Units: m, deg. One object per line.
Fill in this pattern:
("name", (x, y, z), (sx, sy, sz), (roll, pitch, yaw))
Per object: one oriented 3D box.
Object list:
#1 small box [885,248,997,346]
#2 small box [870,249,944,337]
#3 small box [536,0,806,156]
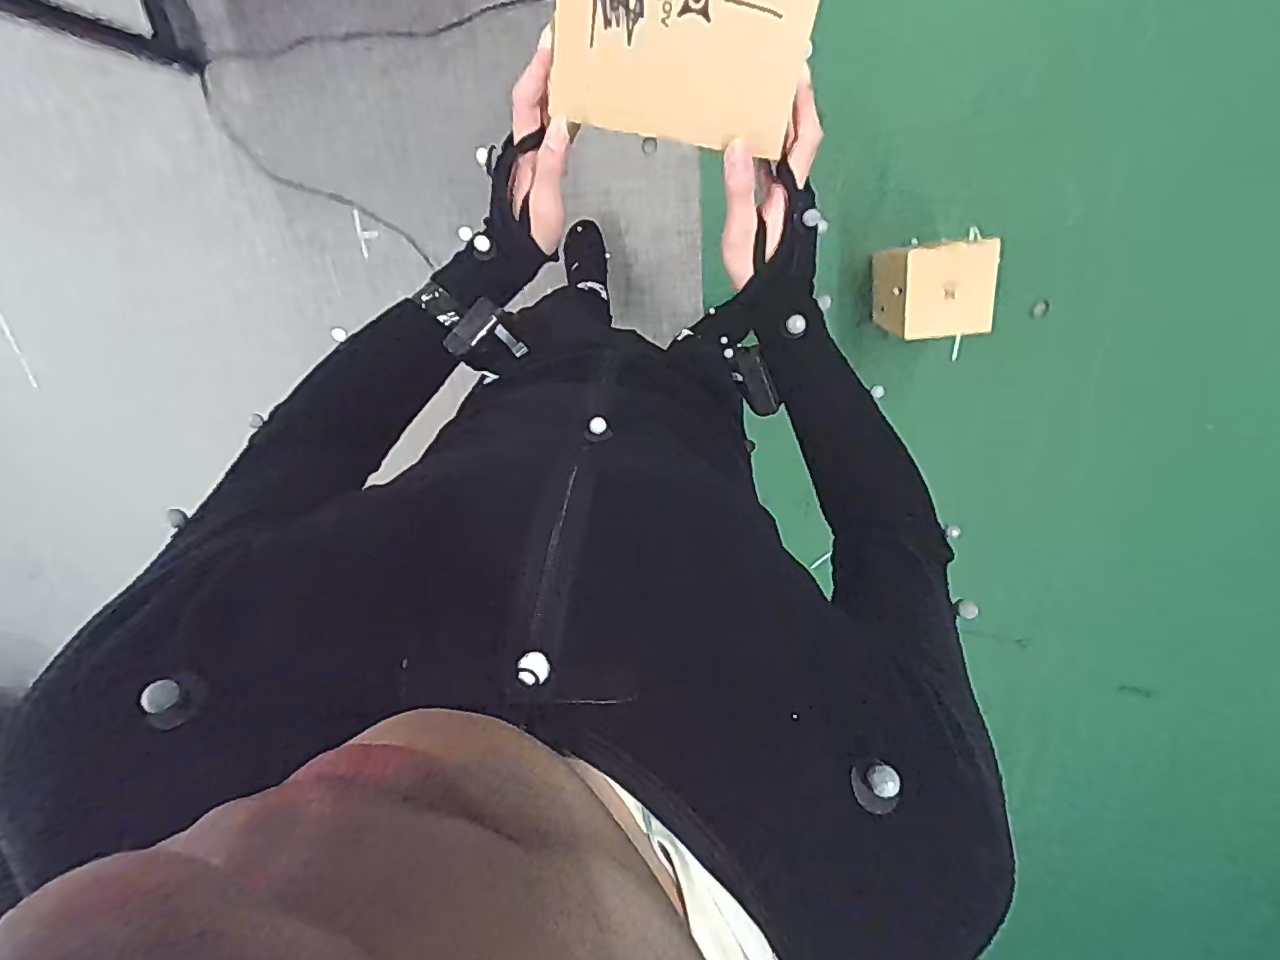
("small box", (0.630, -0.393, 1.156), (0.168, 0.176, 0.179), (-3, 110, 12))
("small box", (0.661, -0.453, 1.304), (0.168, 0.176, 0.179), (-4, 111, 13))
("small box", (0.029, -0.362, 0.419), (0.179, 0.176, 0.168), (10, 124, 0))
